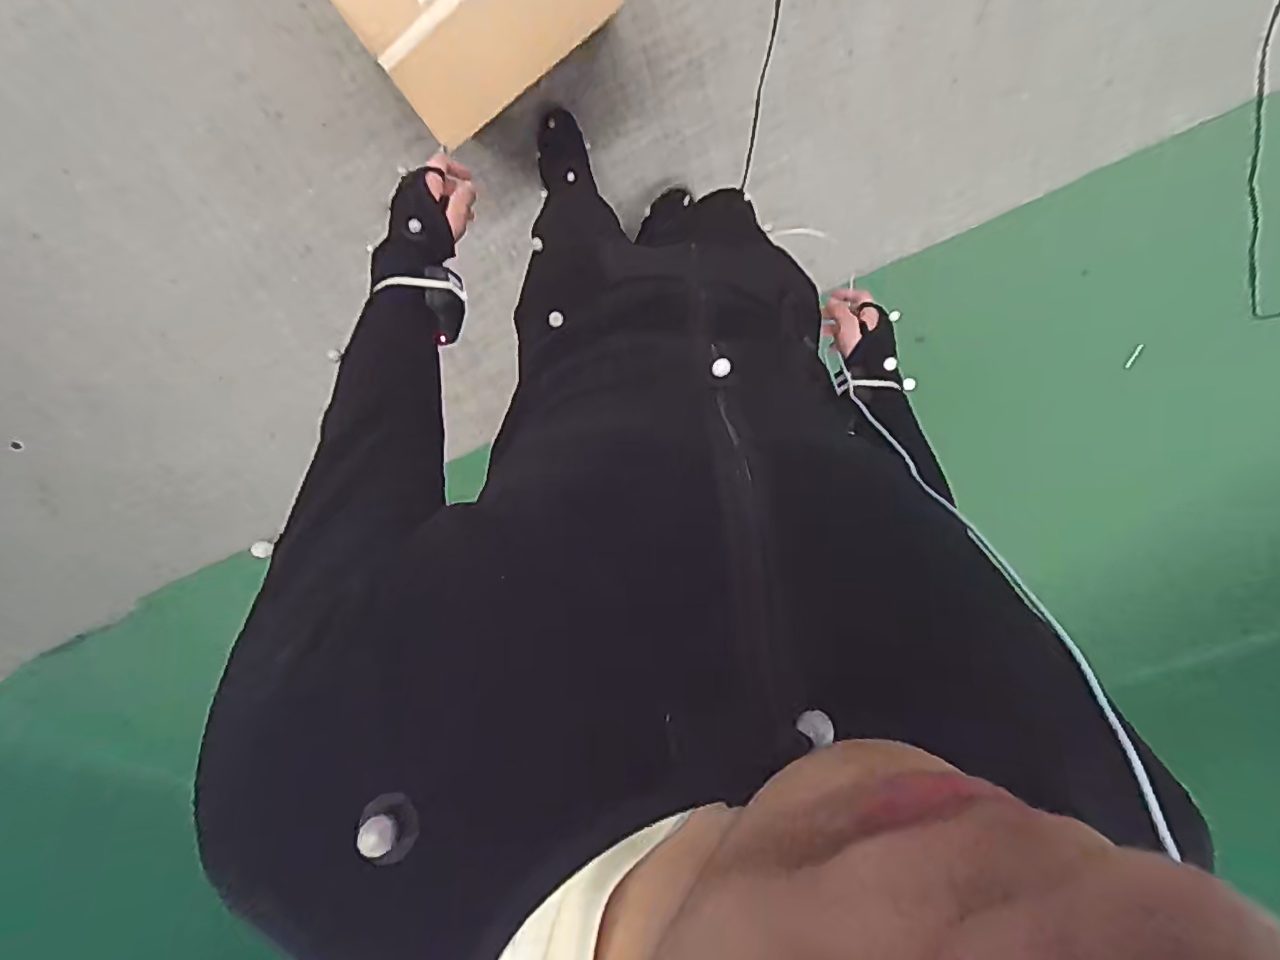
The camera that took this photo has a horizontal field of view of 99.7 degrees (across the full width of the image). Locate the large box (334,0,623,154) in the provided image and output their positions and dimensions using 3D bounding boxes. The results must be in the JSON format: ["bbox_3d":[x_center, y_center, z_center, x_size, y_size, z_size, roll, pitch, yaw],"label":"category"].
[{"bbox_3d":[-0.284,-0.896,0.996,0.408,0.320,0.320,-30,125,16],"label":"large box"}]
